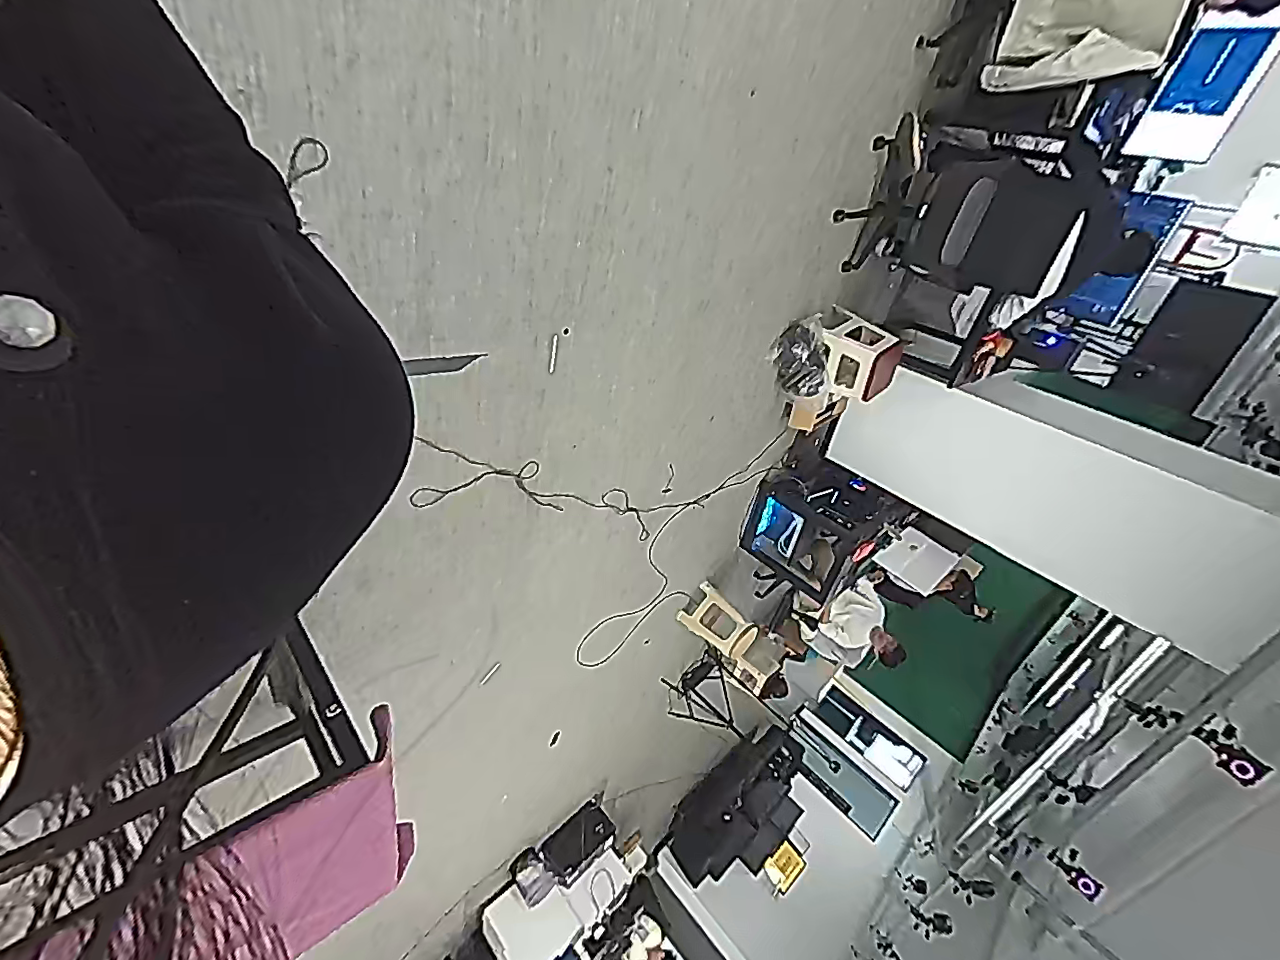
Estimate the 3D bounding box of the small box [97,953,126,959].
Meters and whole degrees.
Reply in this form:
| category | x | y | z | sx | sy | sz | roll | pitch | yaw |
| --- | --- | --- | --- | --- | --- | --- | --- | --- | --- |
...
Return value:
| category | x | y | z | sx | sy | sz | roll | pitch | yaw |
| --- | --- | --- | --- | --- | --- | --- | --- | --- | --- |
| small box | -0.947 | 0.955 | 0.902 | 0.168 | 0.176 | 0.179 | -17 | 133 | -44 |
